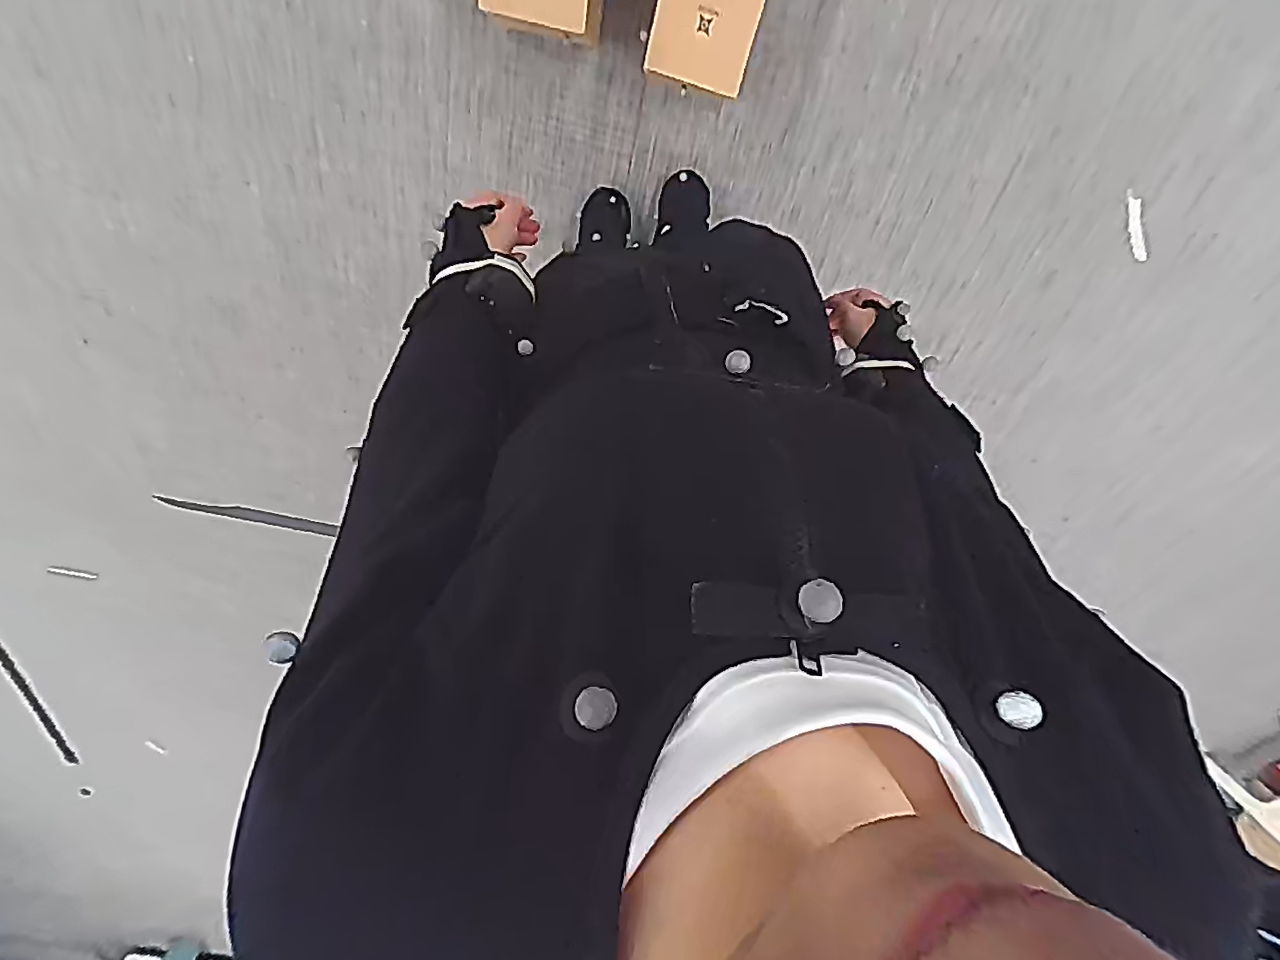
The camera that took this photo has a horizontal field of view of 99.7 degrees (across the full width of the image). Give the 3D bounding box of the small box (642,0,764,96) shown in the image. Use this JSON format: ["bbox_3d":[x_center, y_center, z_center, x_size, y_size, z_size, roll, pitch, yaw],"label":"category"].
[{"bbox_3d":[0.107,-0.784,0.927,0.168,0.176,0.179,13,123,-8],"label":"small box"}]
